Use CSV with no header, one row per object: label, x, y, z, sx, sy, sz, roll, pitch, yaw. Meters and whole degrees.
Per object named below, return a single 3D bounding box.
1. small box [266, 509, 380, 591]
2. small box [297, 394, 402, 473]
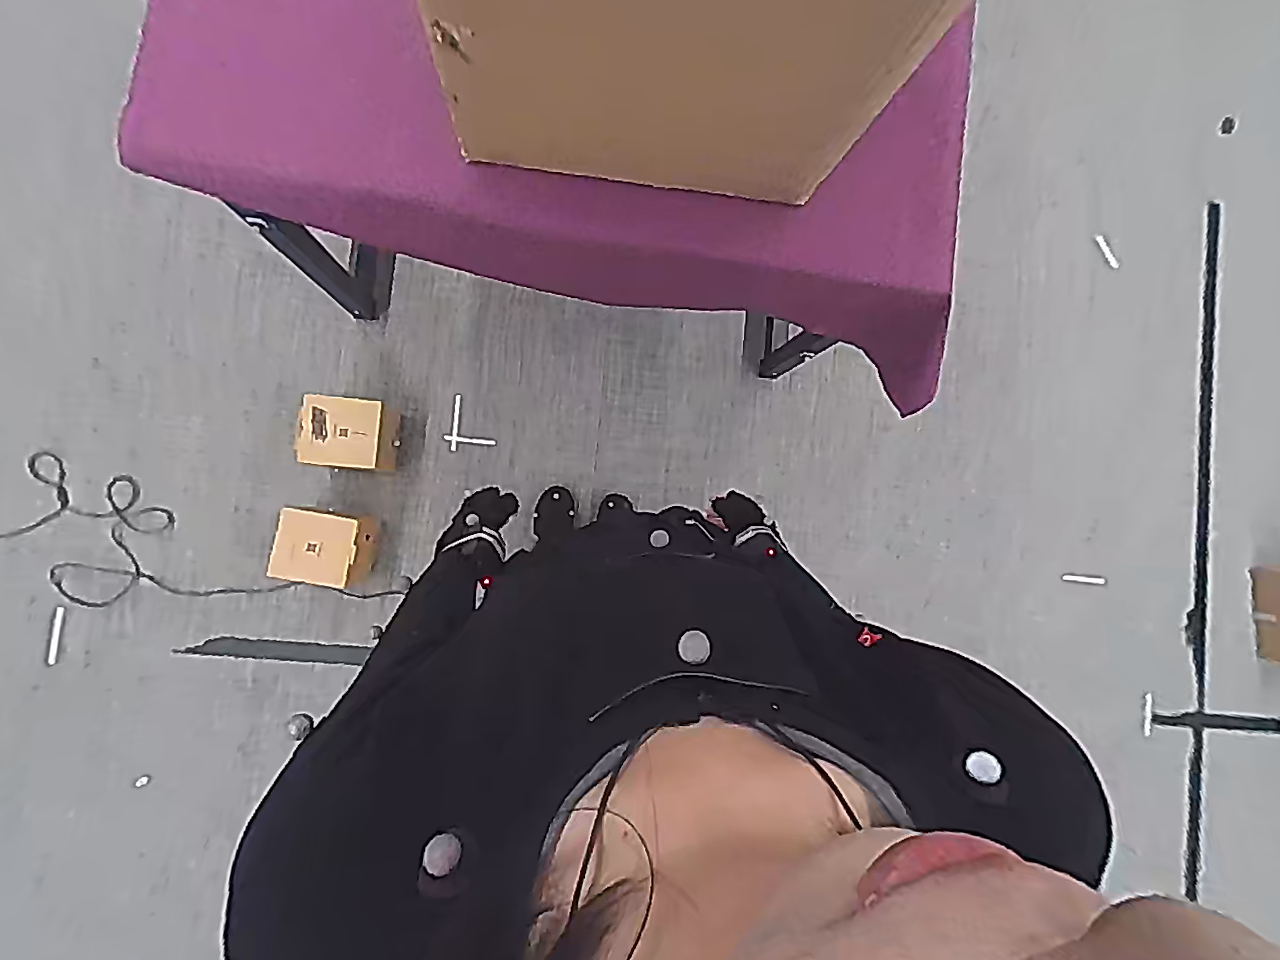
small box,-0.767,0.166,1.330,0.179,0.176,0.168,11,85,-6
small box,-0.715,-0.108,1.347,0.179,0.176,0.168,5,87,-8
